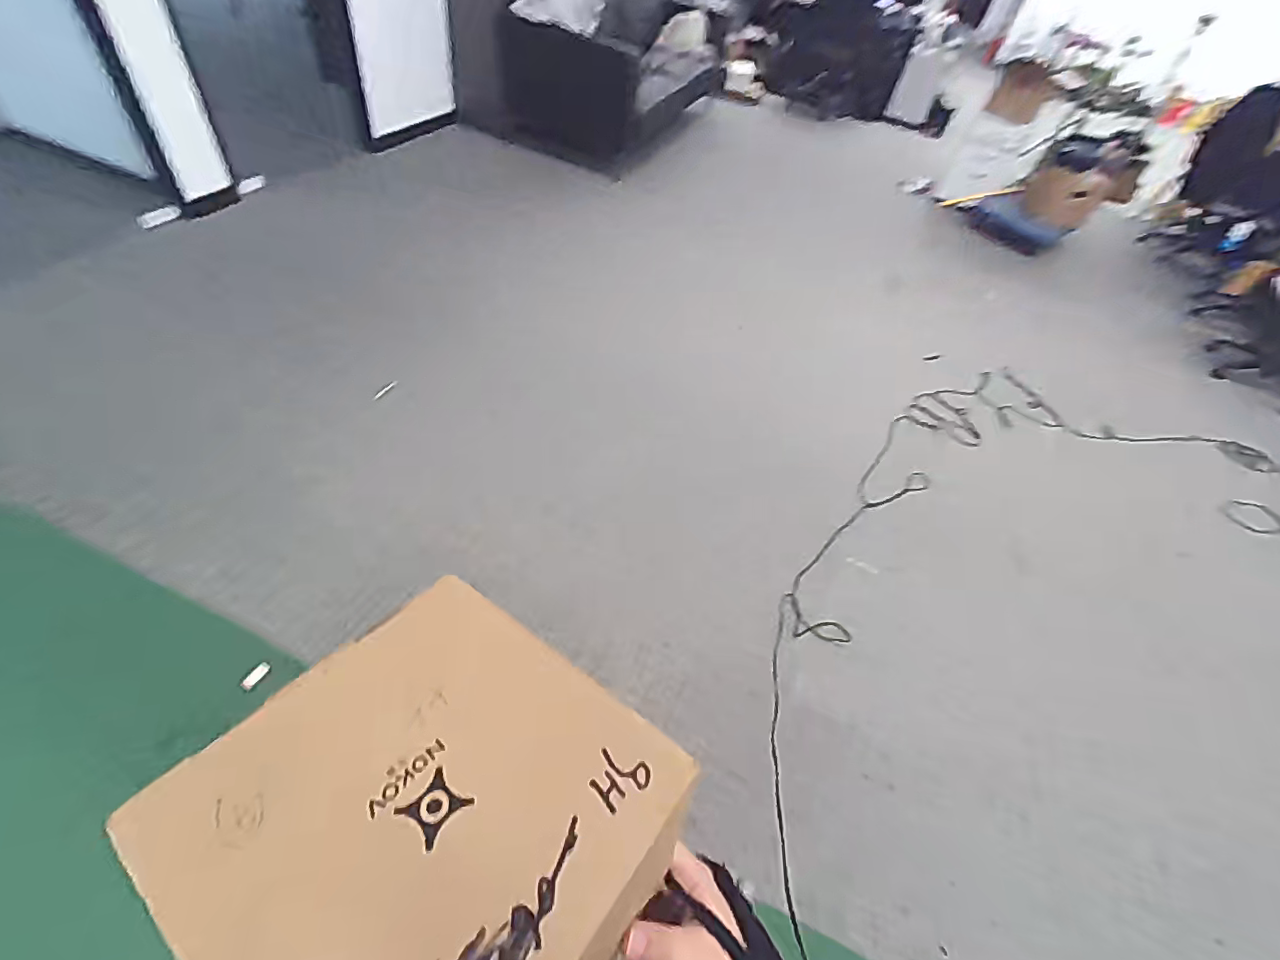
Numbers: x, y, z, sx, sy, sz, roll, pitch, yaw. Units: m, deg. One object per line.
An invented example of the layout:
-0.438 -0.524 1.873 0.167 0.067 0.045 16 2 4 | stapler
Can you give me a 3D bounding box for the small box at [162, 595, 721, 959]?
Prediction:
-0.084 0.202 0.282 0.179 0.176 0.168 28 45 26 | small box
